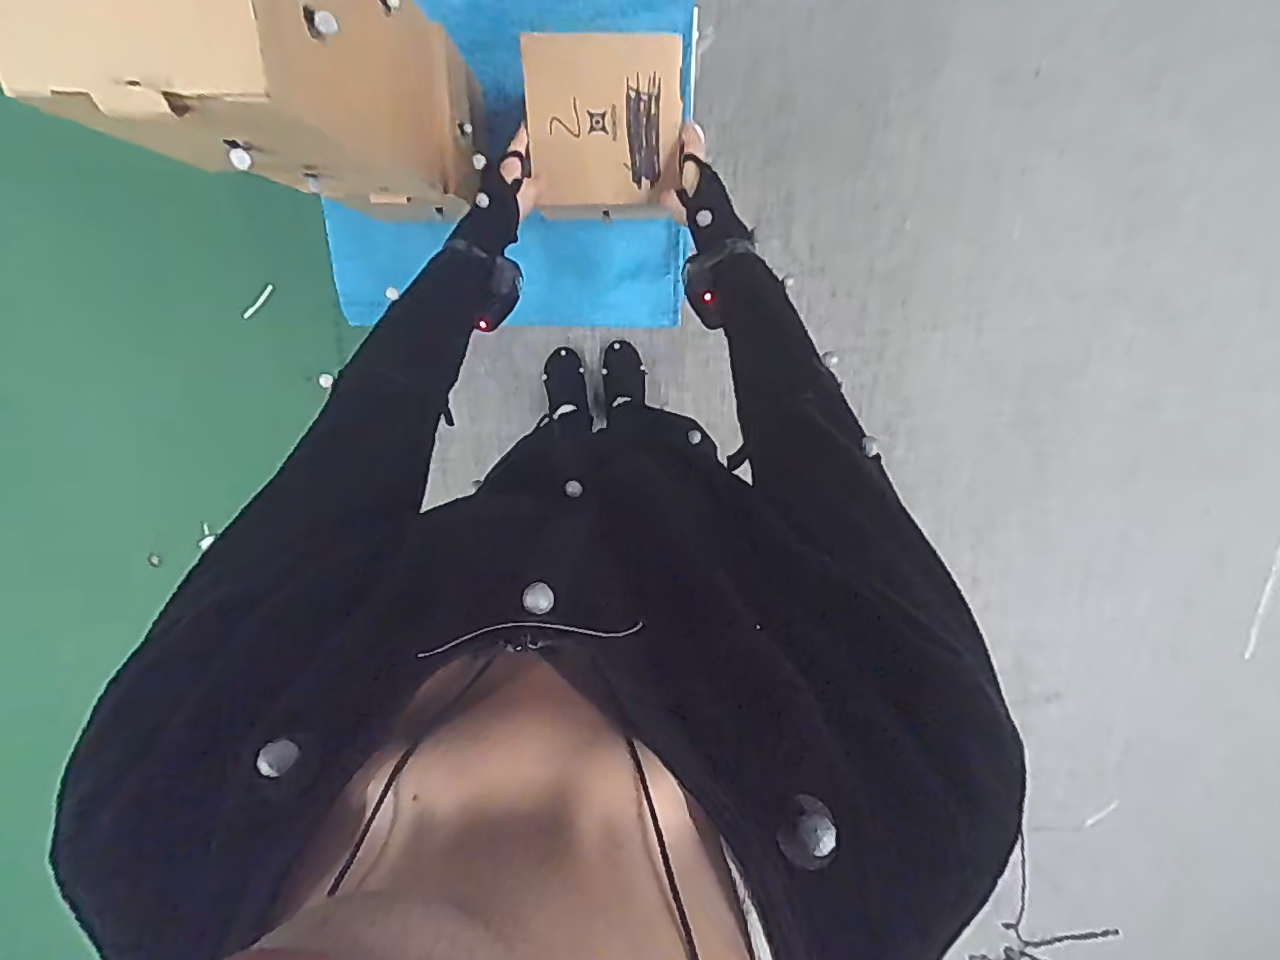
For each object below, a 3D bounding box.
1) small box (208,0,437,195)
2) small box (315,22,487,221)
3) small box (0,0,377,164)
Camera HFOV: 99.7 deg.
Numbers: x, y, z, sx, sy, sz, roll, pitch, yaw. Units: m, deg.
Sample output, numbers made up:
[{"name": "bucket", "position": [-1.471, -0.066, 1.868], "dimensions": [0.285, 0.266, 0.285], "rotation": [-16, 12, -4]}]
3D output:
[{"name": "small box", "position": [-0.311, -0.395, 0.533], "dimensions": [0.168, 0.176, 0.179], "rotation": [2, 105, -1]}, {"name": "small box", "position": [-0.299, -0.440, 0.690], "dimensions": [0.168, 0.176, 0.179], "rotation": [1, 105, -2]}, {"name": "small box", "position": [-0.305, -0.339, 0.378], "dimensions": [0.168, 0.176, 0.179], "rotation": [2, 106, -2]}]
